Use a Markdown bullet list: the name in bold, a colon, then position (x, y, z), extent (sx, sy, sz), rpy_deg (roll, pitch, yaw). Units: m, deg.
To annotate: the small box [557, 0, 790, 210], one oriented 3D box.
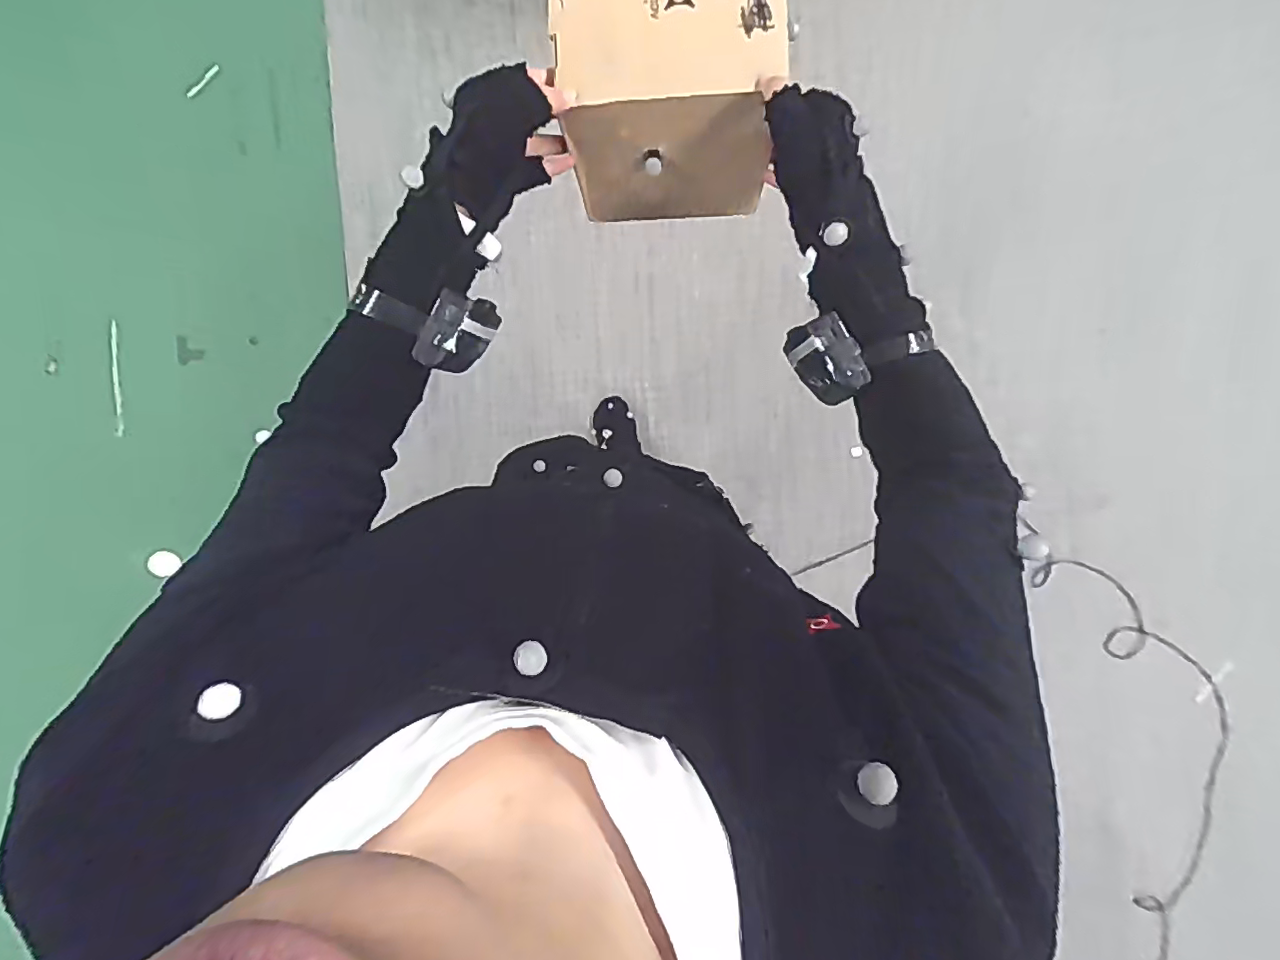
- **small box**: position (0.030, -0.366, 0.486), extent (0.179, 0.176, 0.168), rpy_deg (-1, 86, 5)
